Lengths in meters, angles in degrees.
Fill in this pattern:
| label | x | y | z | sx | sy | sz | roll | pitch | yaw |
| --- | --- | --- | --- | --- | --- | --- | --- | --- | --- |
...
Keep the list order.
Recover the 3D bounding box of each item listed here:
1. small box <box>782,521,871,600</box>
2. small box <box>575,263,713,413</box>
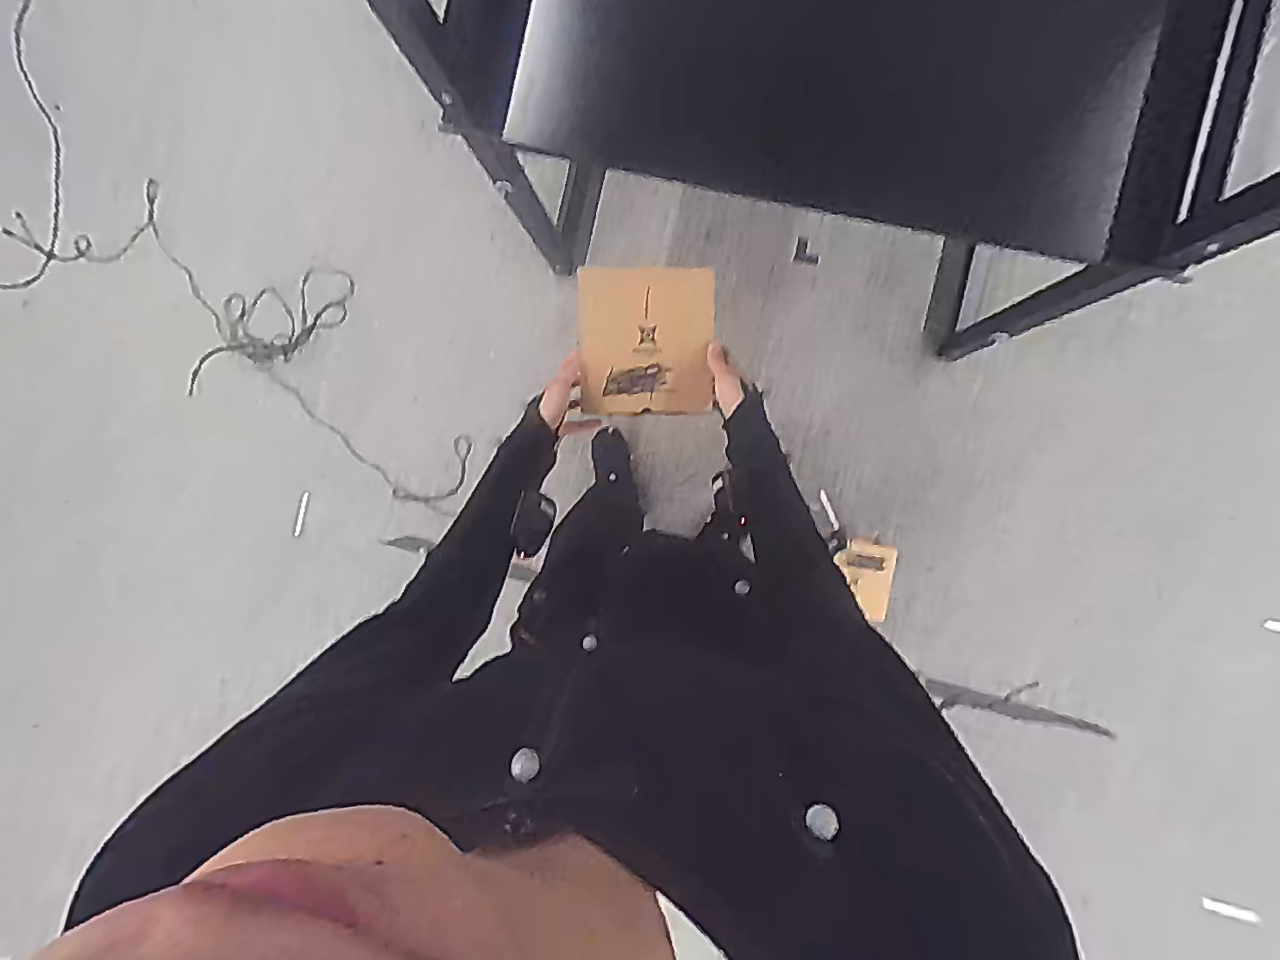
| label | x | y | z | sx | sy | sz | roll | pitch | yaw |
| --- | --- | --- | --- | --- | --- | --- | --- | --- | --- |
| small box | 0.510 | 0.216 | 1.501 | 0.179 | 0.176 | 0.168 | 13 | 93 | 4 |
| small box | 0.002 | -0.184 | 0.731 | 0.168 | 0.176 | 0.179 | -1 | 99 | -3 |
